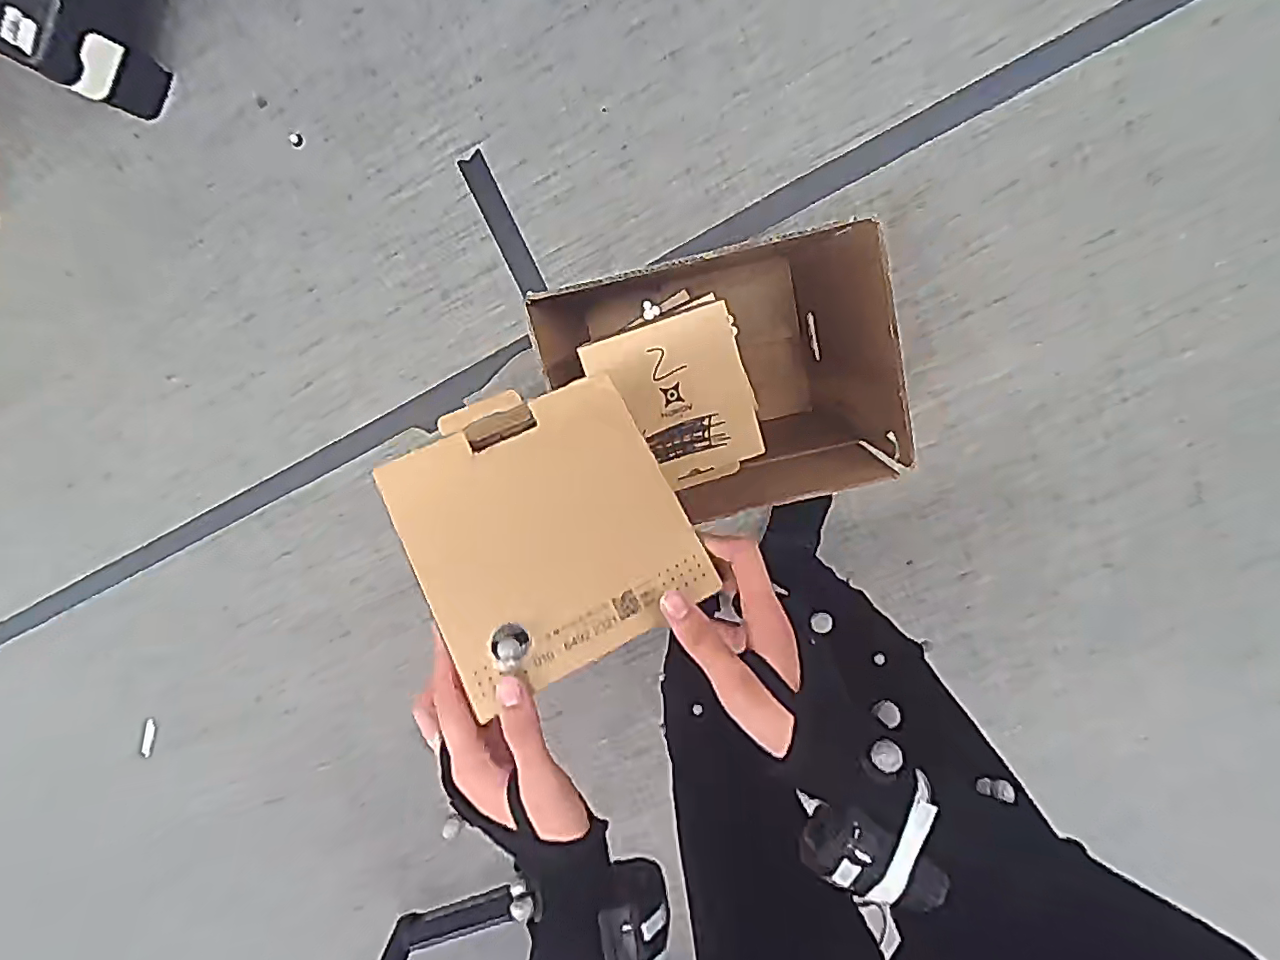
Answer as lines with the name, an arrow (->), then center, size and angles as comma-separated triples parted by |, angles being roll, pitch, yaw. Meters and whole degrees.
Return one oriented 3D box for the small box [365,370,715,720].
small box -> -0.065, 0.053, 0.405 | 0.168, 0.179, 0.176 | -26, 80, -13
